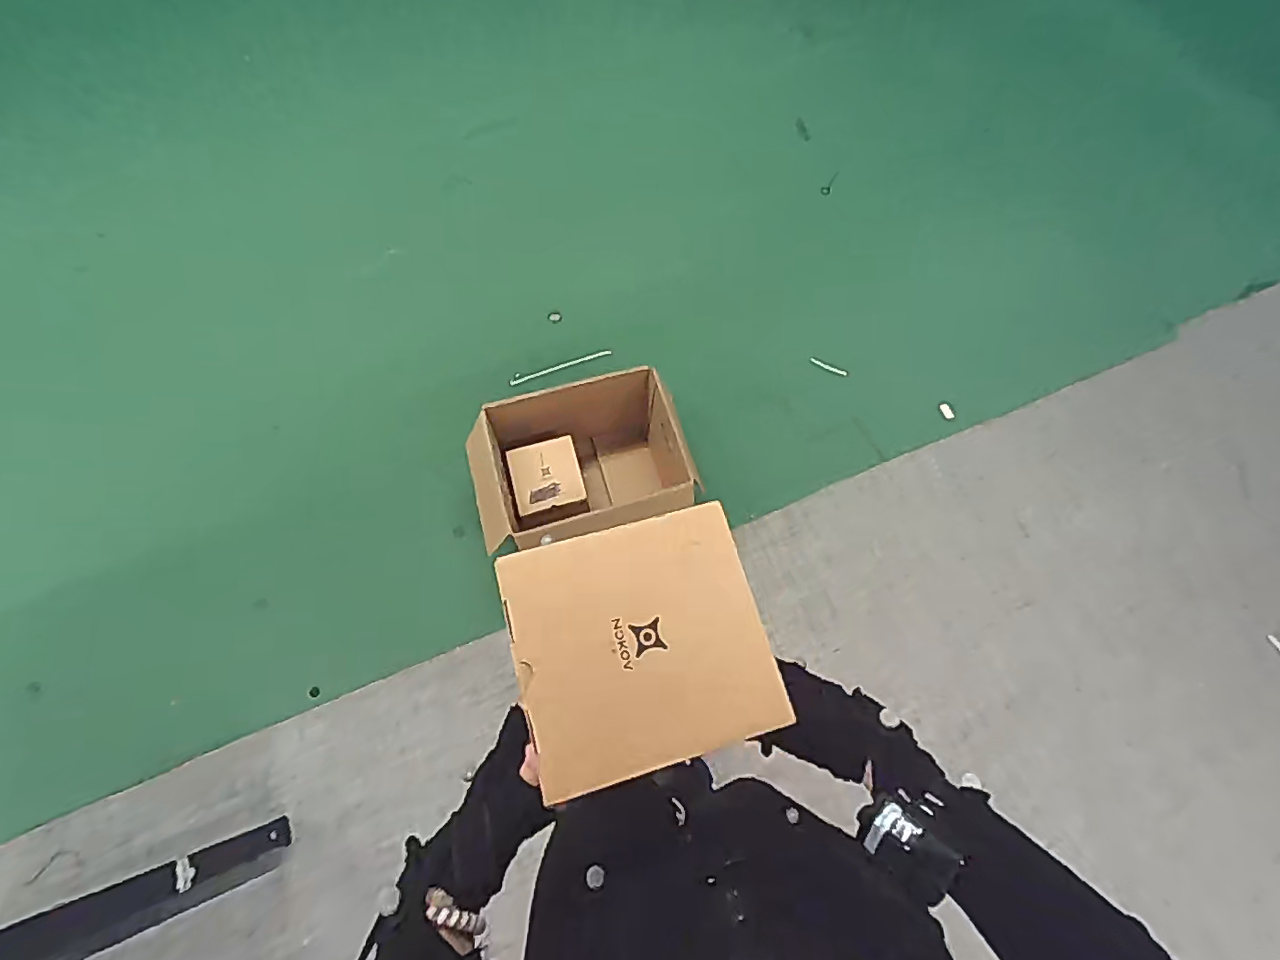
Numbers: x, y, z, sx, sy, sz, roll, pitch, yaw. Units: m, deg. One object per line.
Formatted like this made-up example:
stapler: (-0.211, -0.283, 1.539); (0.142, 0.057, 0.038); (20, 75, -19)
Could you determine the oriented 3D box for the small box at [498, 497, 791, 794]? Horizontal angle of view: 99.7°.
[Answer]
small box: (-0.005, 0.132, 0.454); (0.179, 0.176, 0.168); (-15, 71, -9)
